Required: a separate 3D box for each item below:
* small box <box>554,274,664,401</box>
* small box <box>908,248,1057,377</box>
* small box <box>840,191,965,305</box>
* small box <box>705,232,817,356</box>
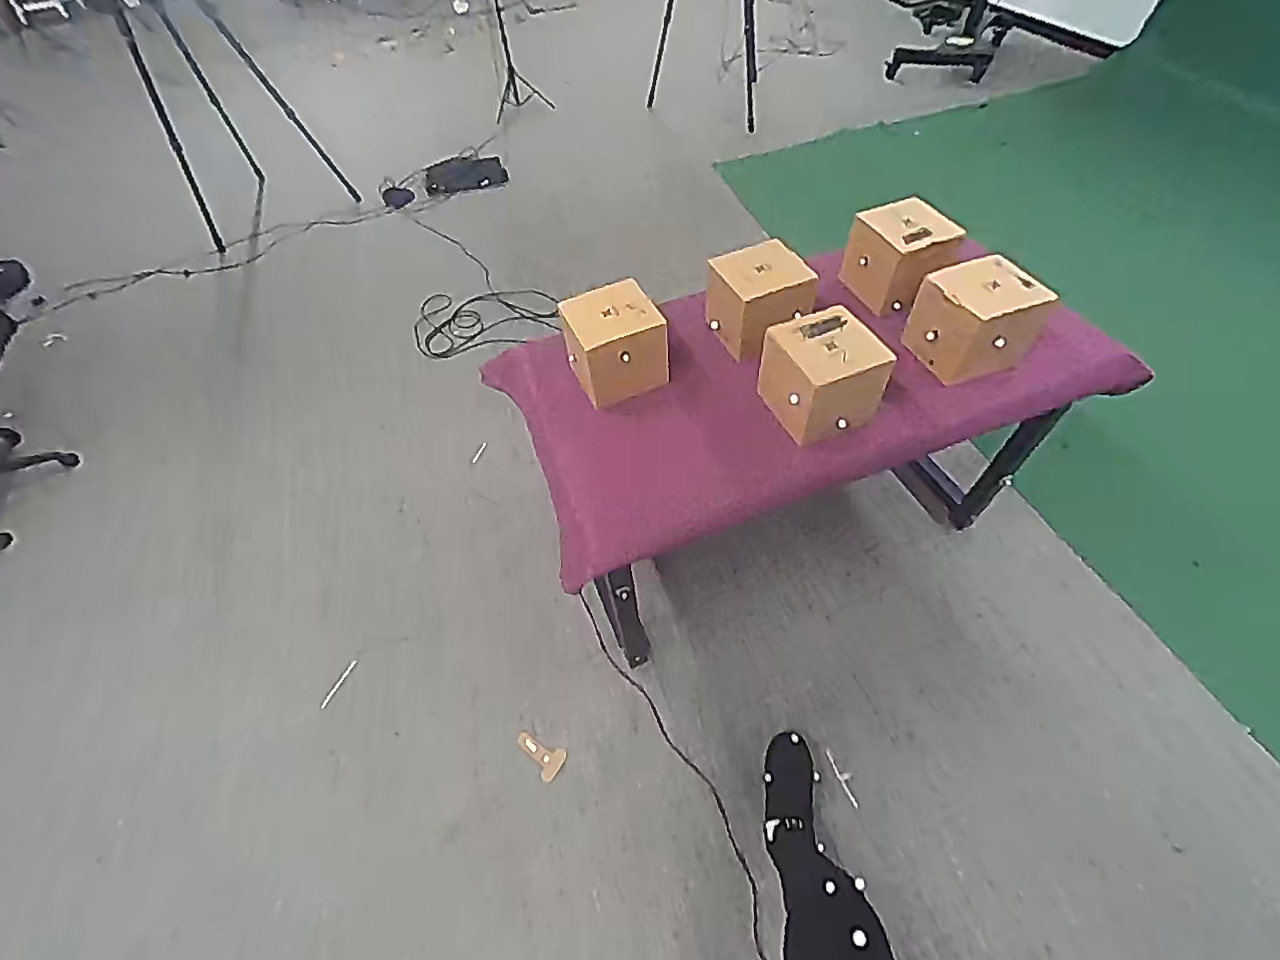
[{"bbox_3d":[-0.060,-0.292,1.129,0.179,0.176,0.168,-22,57,-11],"label":"small box"},{"bbox_3d":[0.674,-0.334,1.097,0.179,0.176,0.168,-18,55,-7],"label":"small box"},{"bbox_3d":[0.589,-0.523,1.238,0.168,0.176,0.179,-19,54,-8],"label":"small box"},{"bbox_3d":[0.254,-0.404,1.185,0.179,0.176,0.168,-21,55,-9],"label":"small box"}]
